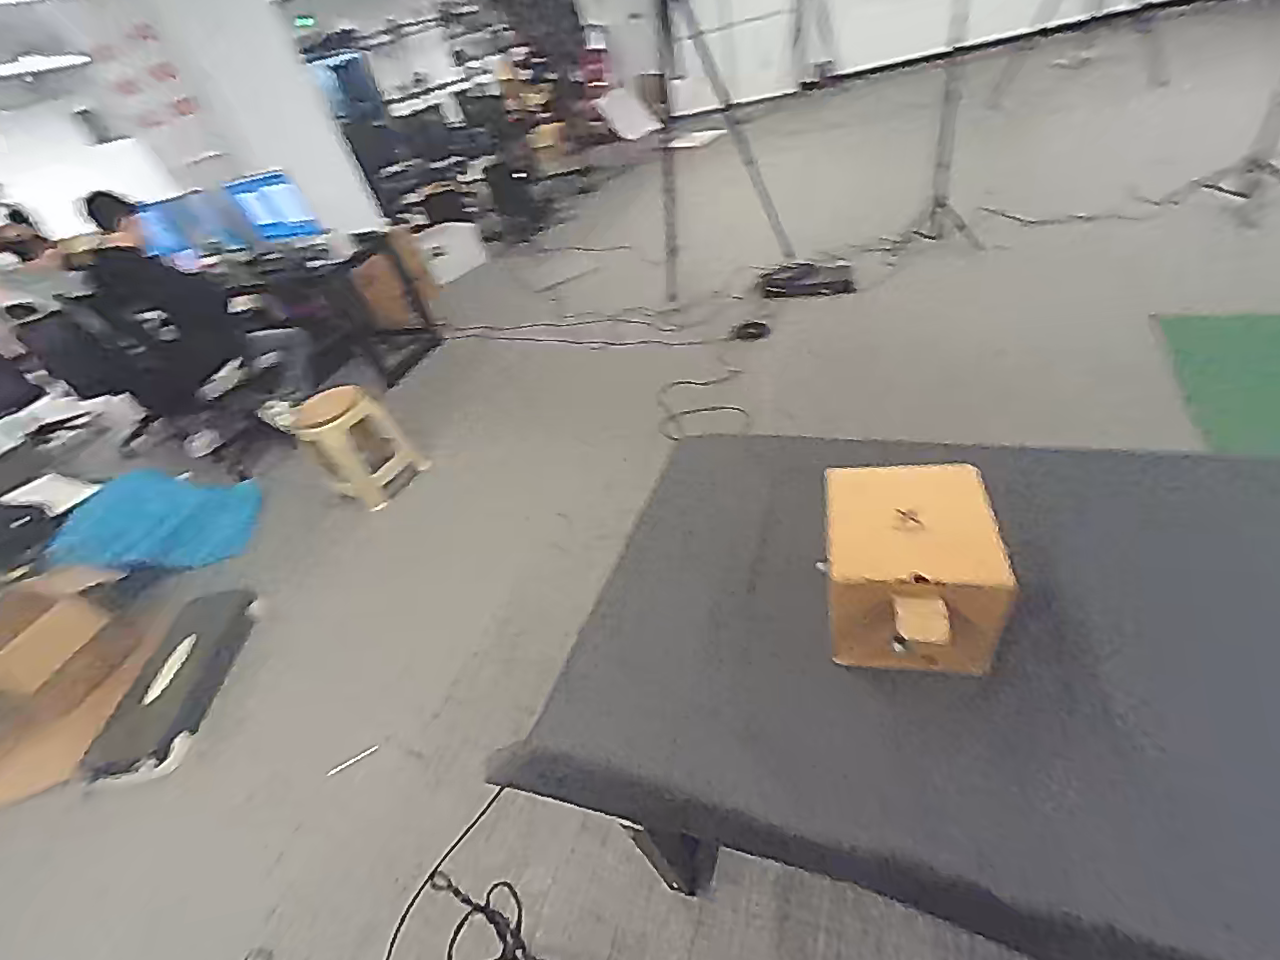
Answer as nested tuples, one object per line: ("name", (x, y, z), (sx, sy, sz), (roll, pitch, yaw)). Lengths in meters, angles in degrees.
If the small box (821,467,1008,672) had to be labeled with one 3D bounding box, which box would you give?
("small box", (0.308, 0.104, 0.650), (0.168, 0.176, 0.179), (-2, 42, 17))
